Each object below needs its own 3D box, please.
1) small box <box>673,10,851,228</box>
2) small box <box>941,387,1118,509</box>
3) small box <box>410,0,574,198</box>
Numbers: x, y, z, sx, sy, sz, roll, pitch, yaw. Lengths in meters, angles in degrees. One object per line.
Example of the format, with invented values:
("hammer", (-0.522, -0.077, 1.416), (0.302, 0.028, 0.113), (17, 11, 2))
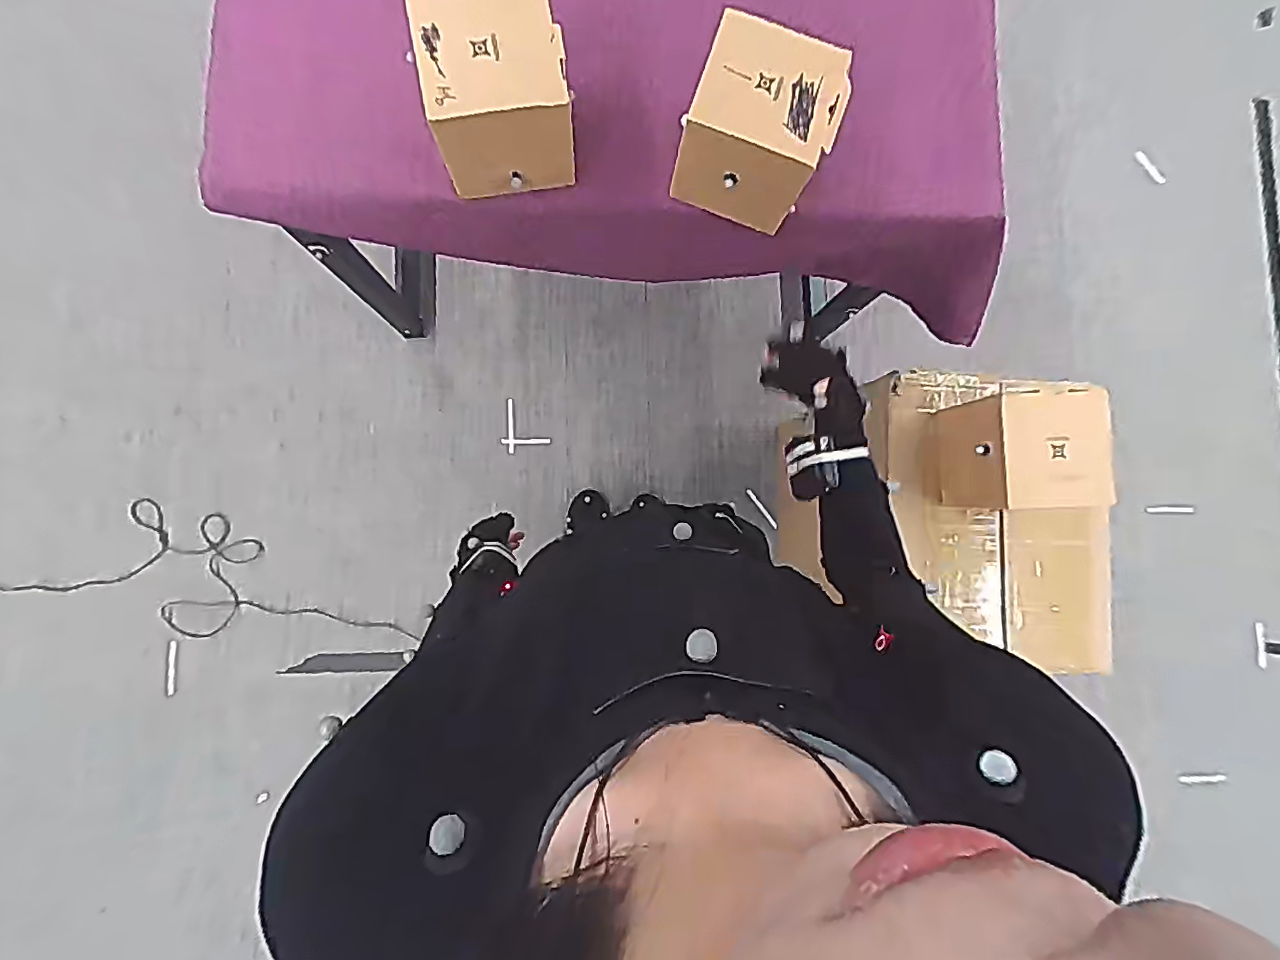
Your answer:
("small box", (0.160, -0.490, 0.764), (0.179, 0.176, 0.168), (19, 84, -2))
("small box", (0.612, -0.044, 0.872), (0.168, 0.176, 0.179), (-3, 88, -2))
("small box", (-0.189, -0.517, 0.740), (0.179, 0.176, 0.168), (-11, 86, -6))
